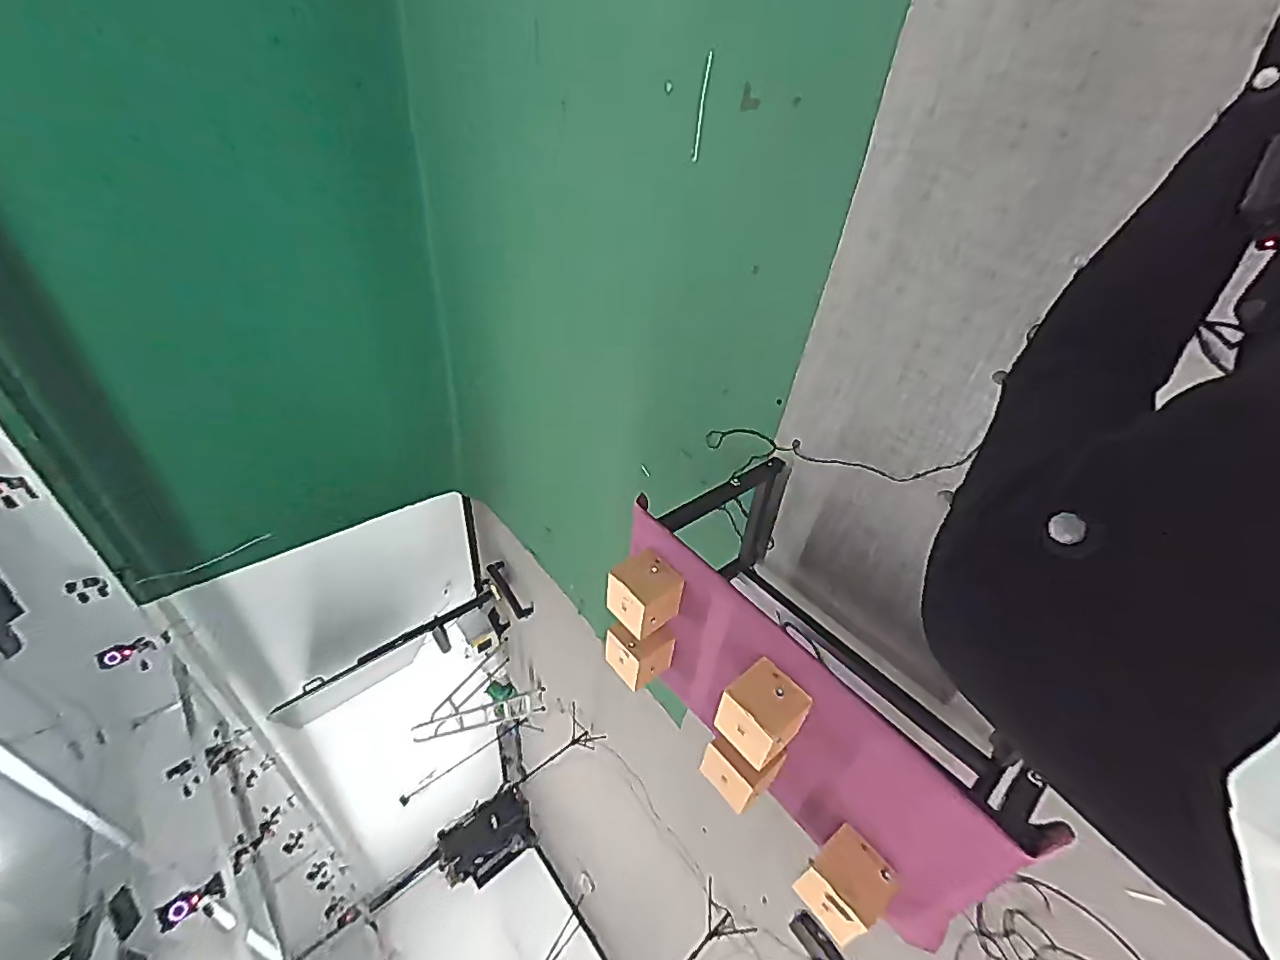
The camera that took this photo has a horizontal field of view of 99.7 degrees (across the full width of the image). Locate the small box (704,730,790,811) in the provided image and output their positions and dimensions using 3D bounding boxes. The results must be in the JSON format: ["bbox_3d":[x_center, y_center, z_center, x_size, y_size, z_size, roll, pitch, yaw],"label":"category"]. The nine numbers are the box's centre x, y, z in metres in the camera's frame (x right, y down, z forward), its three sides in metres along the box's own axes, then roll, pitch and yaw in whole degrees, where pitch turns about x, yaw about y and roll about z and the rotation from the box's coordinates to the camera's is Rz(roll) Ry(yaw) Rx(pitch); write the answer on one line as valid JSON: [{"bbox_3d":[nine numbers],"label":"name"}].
[{"bbox_3d":[0.316,0.825,1.599,0.168,0.176,0.179,39,137,33],"label":"small box"}]

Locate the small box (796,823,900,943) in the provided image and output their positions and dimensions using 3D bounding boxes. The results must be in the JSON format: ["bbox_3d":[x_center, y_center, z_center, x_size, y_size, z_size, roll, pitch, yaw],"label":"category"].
[{"bbox_3d":[0.545,1.045,1.412,0.168,0.176,0.179,42,139,33],"label":"small box"}]

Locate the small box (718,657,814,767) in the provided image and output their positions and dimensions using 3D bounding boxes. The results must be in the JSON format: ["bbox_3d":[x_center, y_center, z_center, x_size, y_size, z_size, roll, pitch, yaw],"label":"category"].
[{"bbox_3d":[0.334,0.612,1.438,0.168,0.176,0.179,39,138,35],"label":"small box"}]

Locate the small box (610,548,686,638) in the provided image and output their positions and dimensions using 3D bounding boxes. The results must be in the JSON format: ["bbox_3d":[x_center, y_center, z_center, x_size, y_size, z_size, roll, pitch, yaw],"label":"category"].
[{"bbox_3d":[0.026,0.349,1.690,0.168,0.176,0.179,38,139,32],"label":"small box"}]

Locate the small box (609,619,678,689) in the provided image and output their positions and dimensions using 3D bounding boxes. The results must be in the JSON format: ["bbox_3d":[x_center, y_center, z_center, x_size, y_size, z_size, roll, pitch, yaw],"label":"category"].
[{"bbox_3d":[0.012,0.571,1.856,0.168,0.176,0.179,38,138,34],"label":"small box"}]
